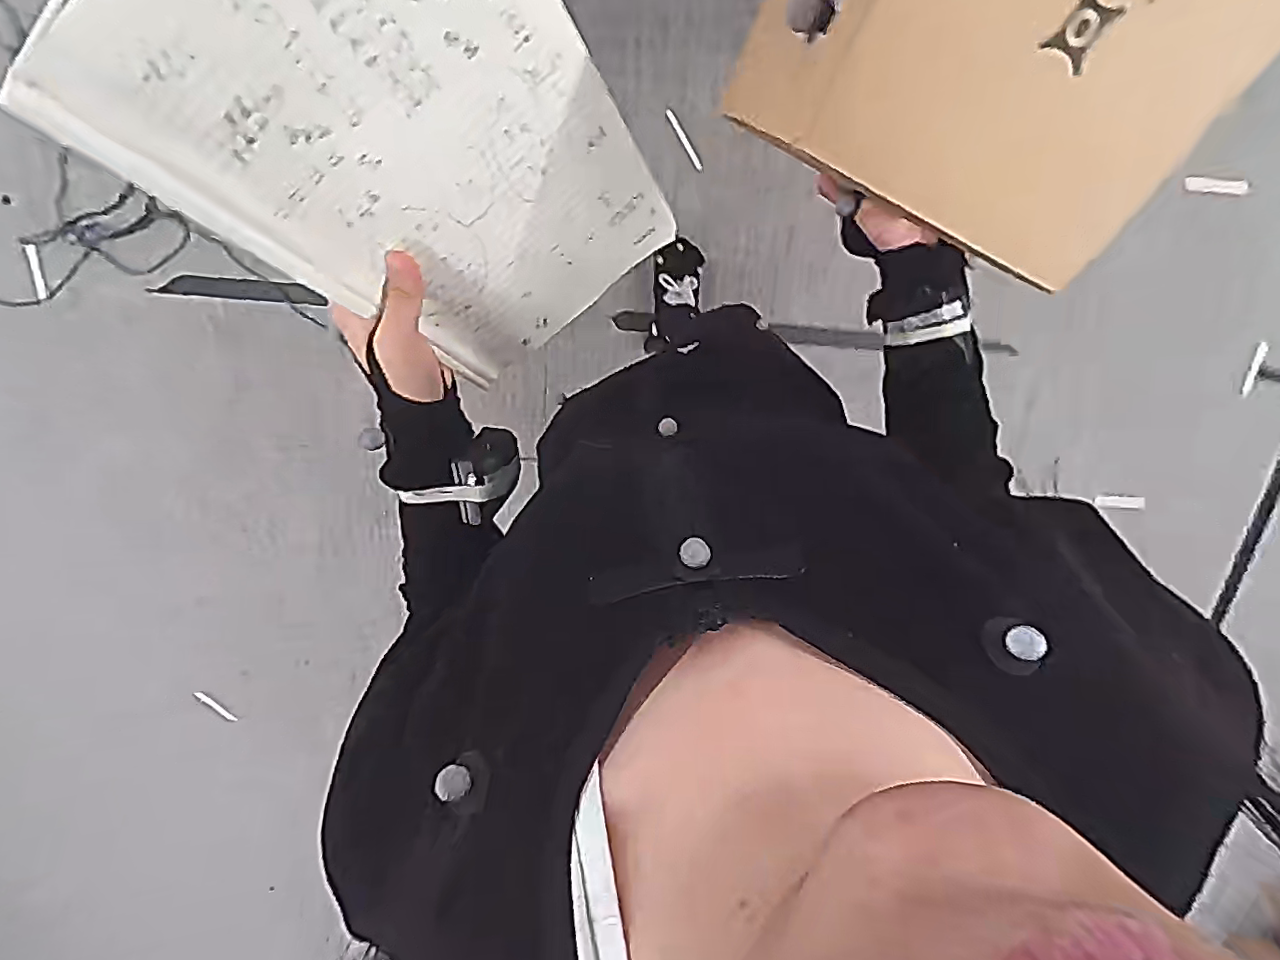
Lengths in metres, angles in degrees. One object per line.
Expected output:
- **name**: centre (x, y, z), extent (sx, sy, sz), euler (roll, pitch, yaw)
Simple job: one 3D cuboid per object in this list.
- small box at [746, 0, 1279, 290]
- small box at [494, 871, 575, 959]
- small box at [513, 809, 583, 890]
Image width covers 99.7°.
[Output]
- **small box**: centre (0.169, -0.231, 0.267), extent (0.168, 0.176, 0.179), euler (17, 124, -19)
- **small box**: centre (-0.250, 1.081, 1.296), extent (0.168, 0.176, 0.179), euler (6, 107, -1)
- **small box**: centre (-0.248, 1.021, 1.448), extent (0.168, 0.176, 0.179), euler (9, 108, -2)
